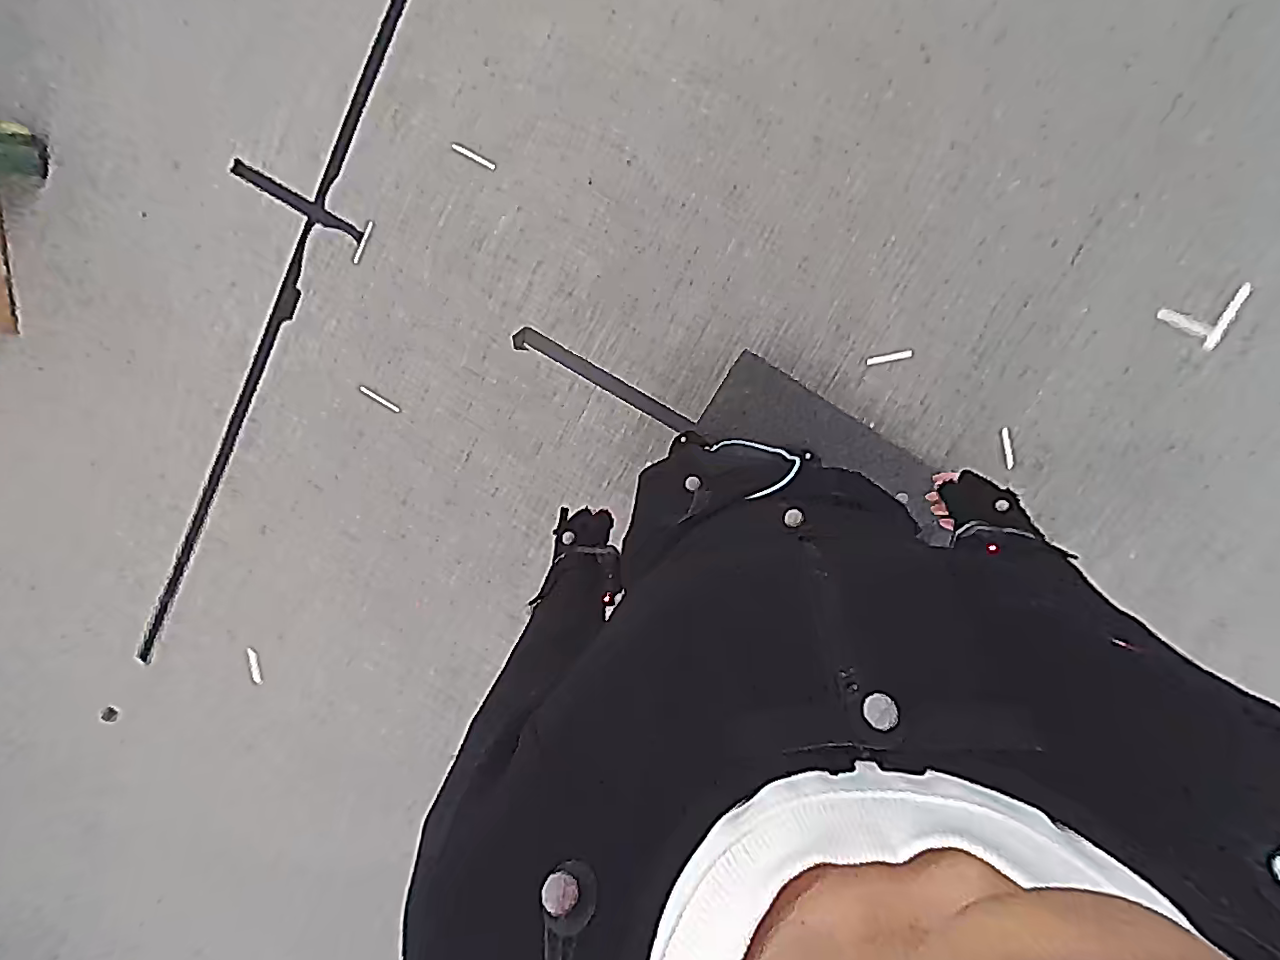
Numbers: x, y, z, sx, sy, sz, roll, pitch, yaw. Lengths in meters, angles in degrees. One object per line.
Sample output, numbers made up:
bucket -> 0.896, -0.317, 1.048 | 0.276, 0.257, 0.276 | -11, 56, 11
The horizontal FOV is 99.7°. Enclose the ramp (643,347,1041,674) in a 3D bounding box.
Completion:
ramp -> 0.553, 0.106, 1.465 | 0.991, 0.206, 0.509 | 30, 99, 5
